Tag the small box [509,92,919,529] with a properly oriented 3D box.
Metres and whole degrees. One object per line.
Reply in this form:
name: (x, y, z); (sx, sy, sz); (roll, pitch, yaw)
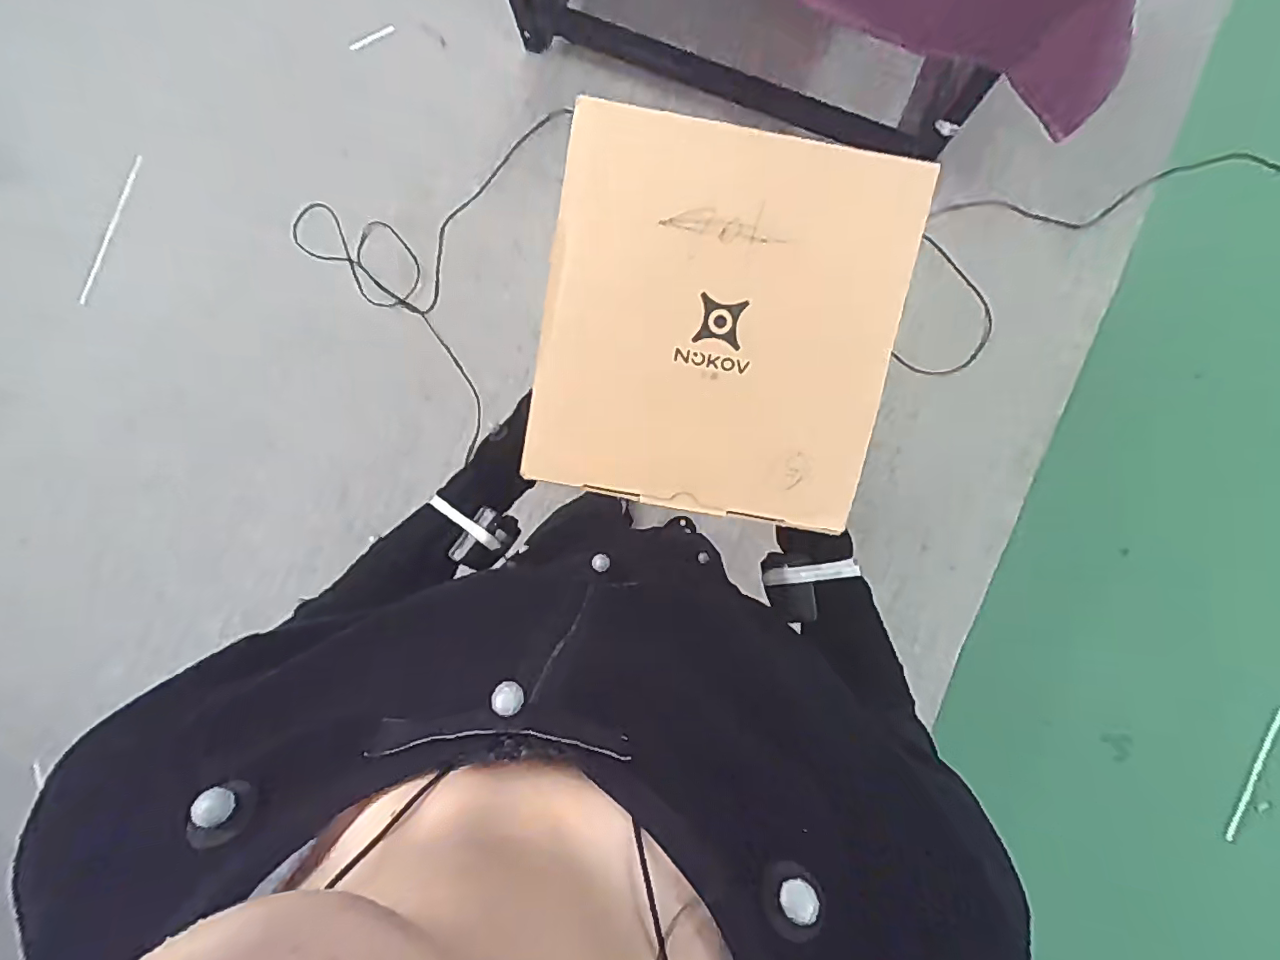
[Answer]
small box: (0.032, -0.087, 0.335); (0.168, 0.176, 0.179); (11, 99, -2)
